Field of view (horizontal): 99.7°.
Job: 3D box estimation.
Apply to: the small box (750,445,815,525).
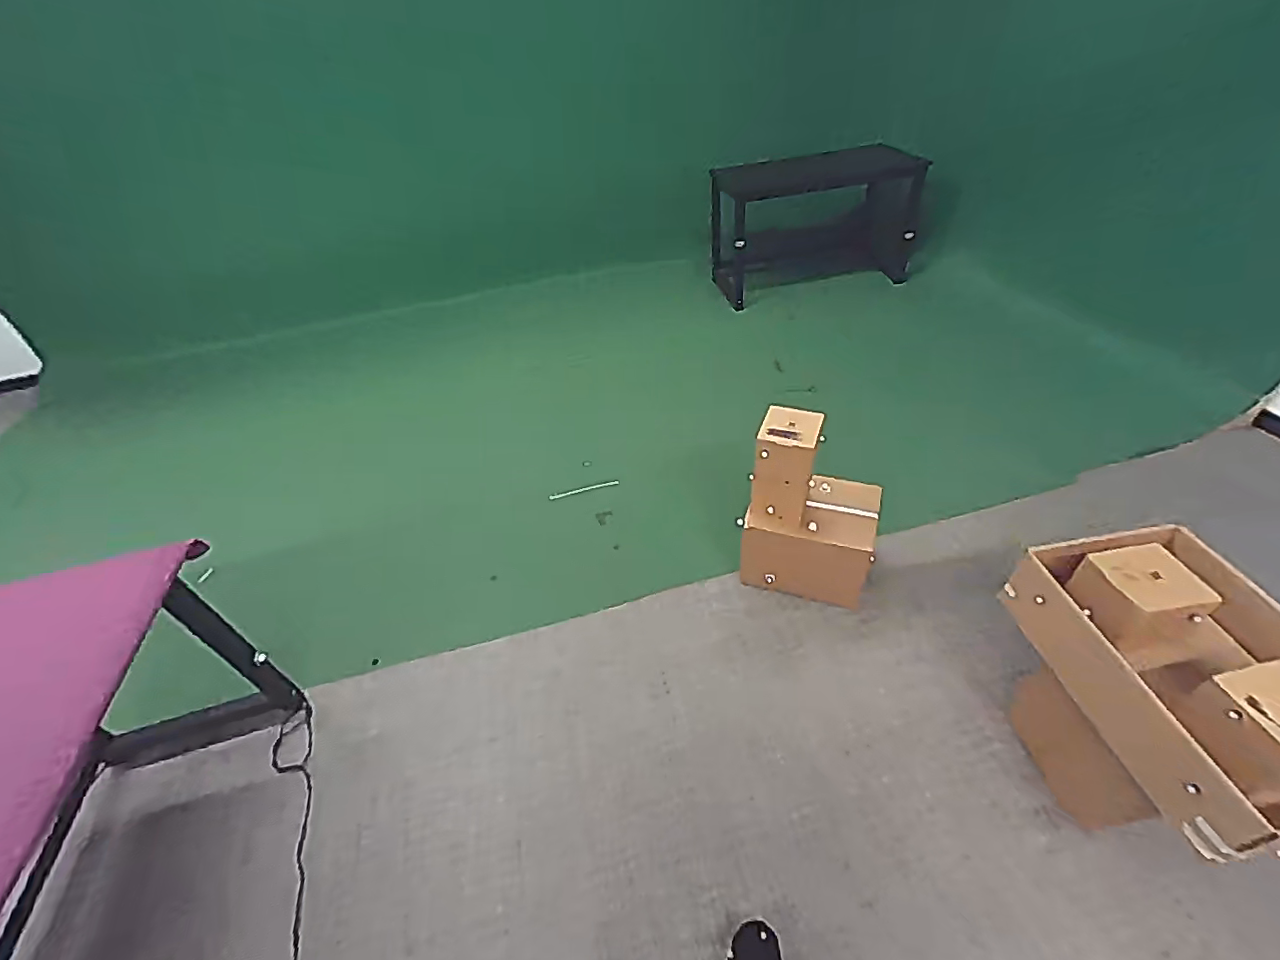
[{"bbox_3d":[0.461,0.015,1.764,0.168,0.176,0.179,13,47,19],"label":"small box"}]
